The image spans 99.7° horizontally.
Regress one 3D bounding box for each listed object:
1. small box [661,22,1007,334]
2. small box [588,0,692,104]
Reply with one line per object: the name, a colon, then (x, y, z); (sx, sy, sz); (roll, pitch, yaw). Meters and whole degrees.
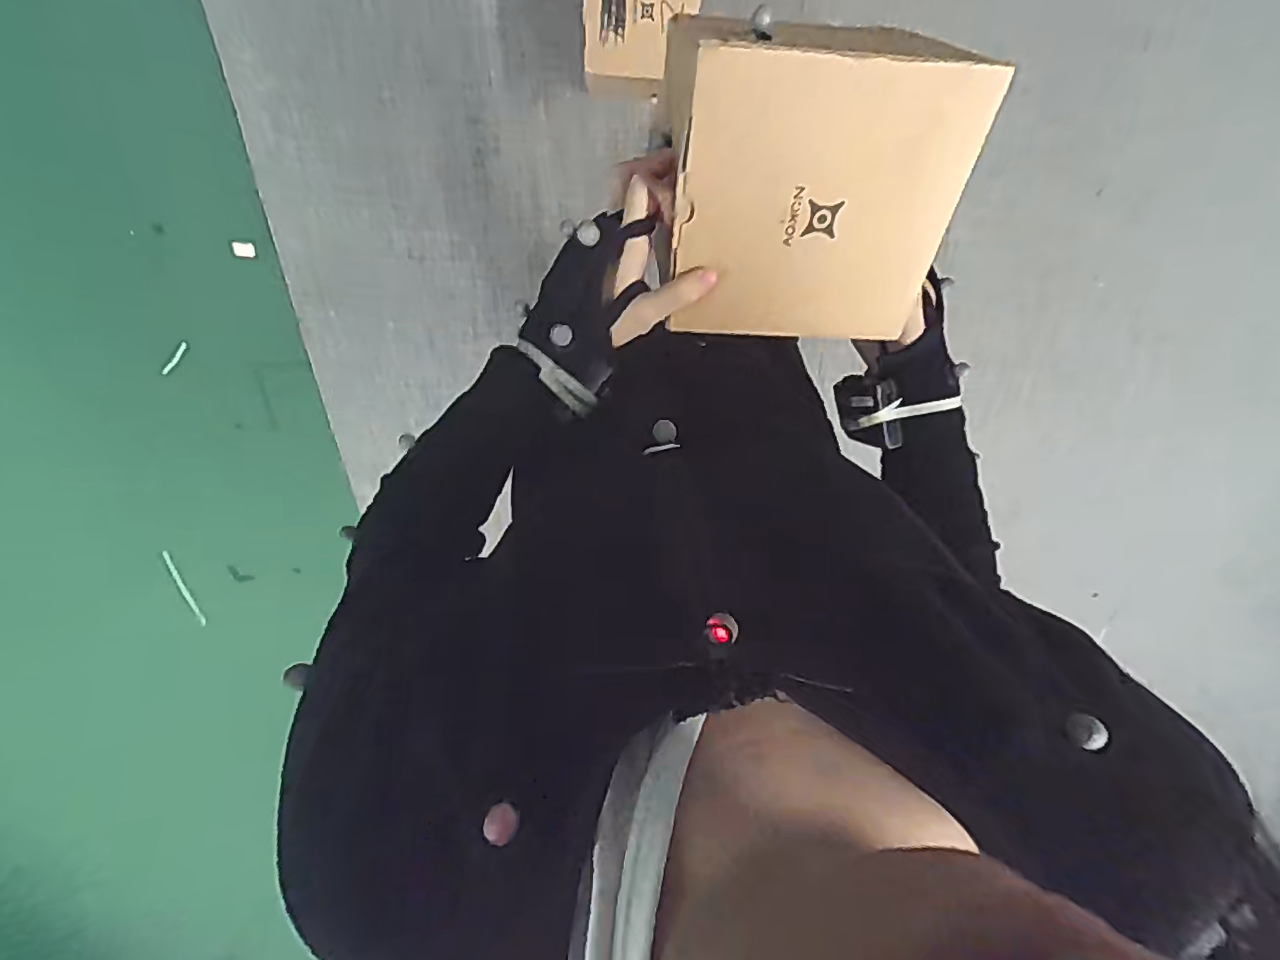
small box: (0.112, -0.227, 0.405); (0.179, 0.176, 0.168); (1, 134, -2)
small box: (-0.004, -0.823, 1.023); (0.179, 0.176, 0.168); (4, 120, -3)
